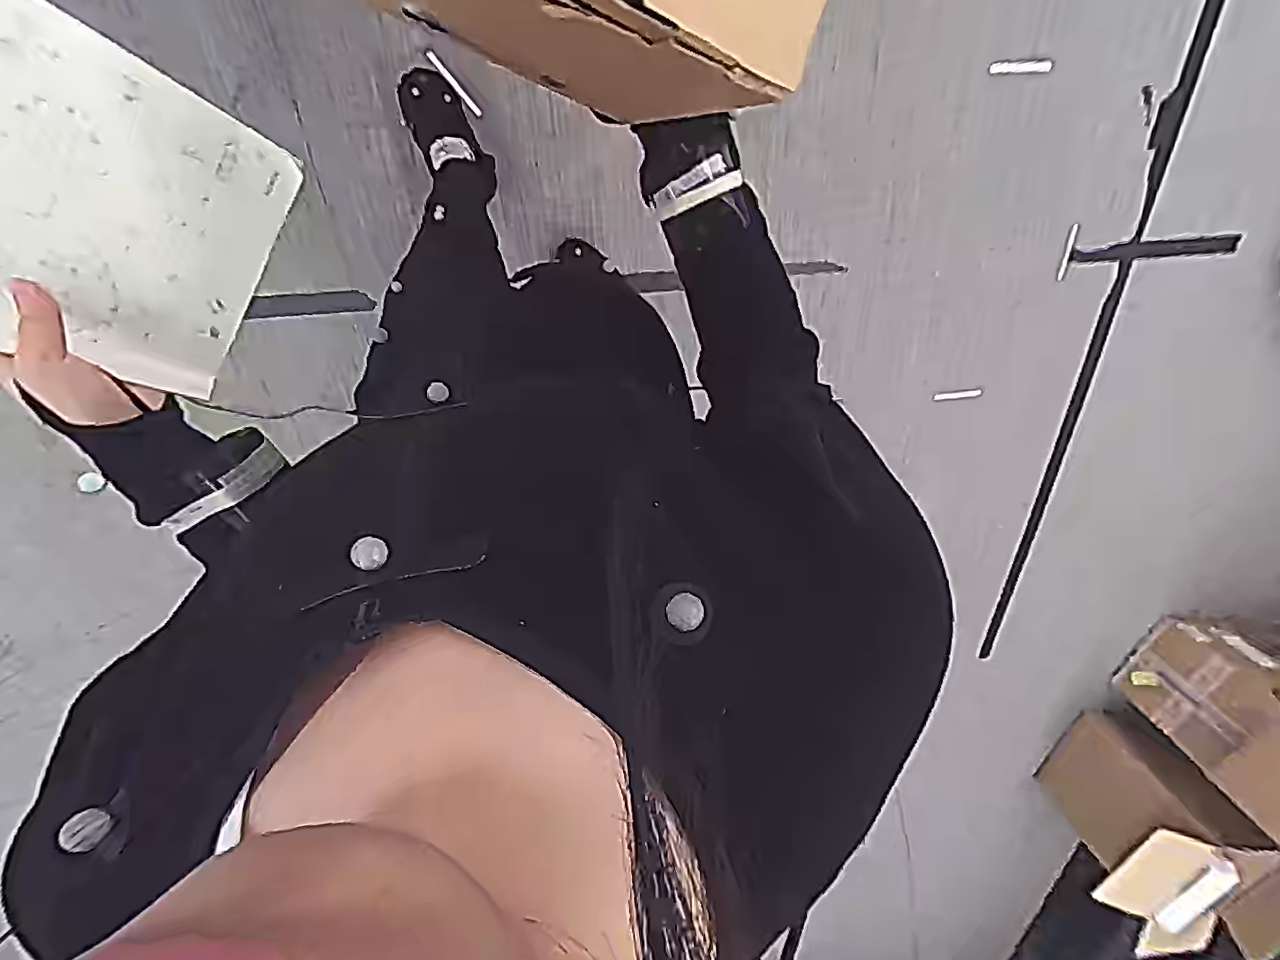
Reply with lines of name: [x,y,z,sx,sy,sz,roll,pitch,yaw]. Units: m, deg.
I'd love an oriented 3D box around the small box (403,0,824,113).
small box: [-0.016,-0.280,0.221,0.168,0.176,0.179,5,114,-31]
